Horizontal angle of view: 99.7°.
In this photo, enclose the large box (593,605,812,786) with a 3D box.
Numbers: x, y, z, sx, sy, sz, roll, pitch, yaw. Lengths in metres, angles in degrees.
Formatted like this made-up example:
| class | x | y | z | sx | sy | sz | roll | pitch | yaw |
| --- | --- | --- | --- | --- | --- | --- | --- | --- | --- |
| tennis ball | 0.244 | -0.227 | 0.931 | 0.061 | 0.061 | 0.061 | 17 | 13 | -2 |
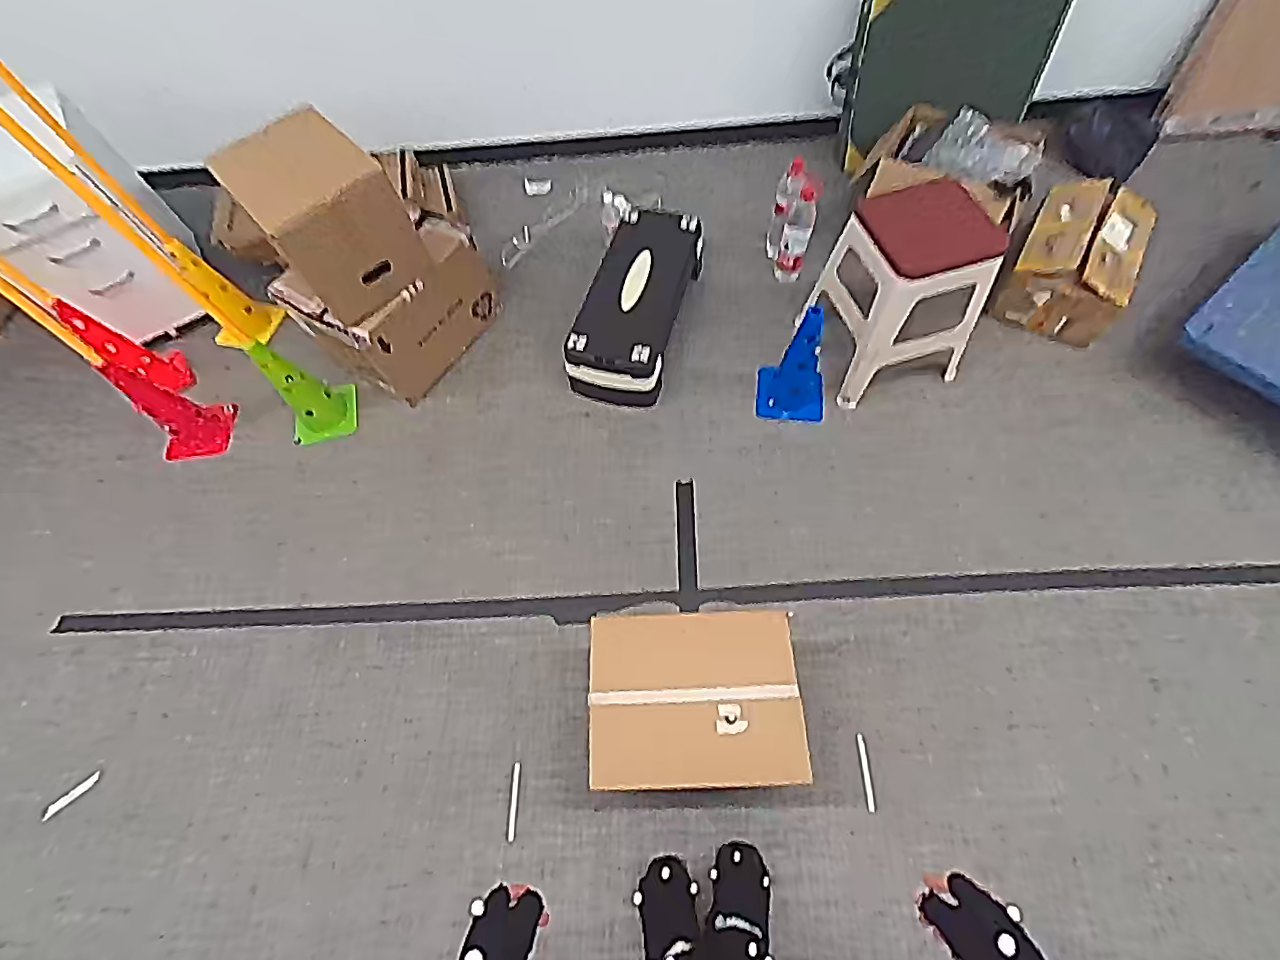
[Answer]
| class | x | y | z | sx | sy | sz | roll | pitch | yaw |
| --- | --- | --- | --- | --- | --- | --- | --- | --- | --- |
| large box | 0.113 | 0.472 | 1.177 | 0.408 | 0.320 | 0.320 | -3 | 64 | 1 |
